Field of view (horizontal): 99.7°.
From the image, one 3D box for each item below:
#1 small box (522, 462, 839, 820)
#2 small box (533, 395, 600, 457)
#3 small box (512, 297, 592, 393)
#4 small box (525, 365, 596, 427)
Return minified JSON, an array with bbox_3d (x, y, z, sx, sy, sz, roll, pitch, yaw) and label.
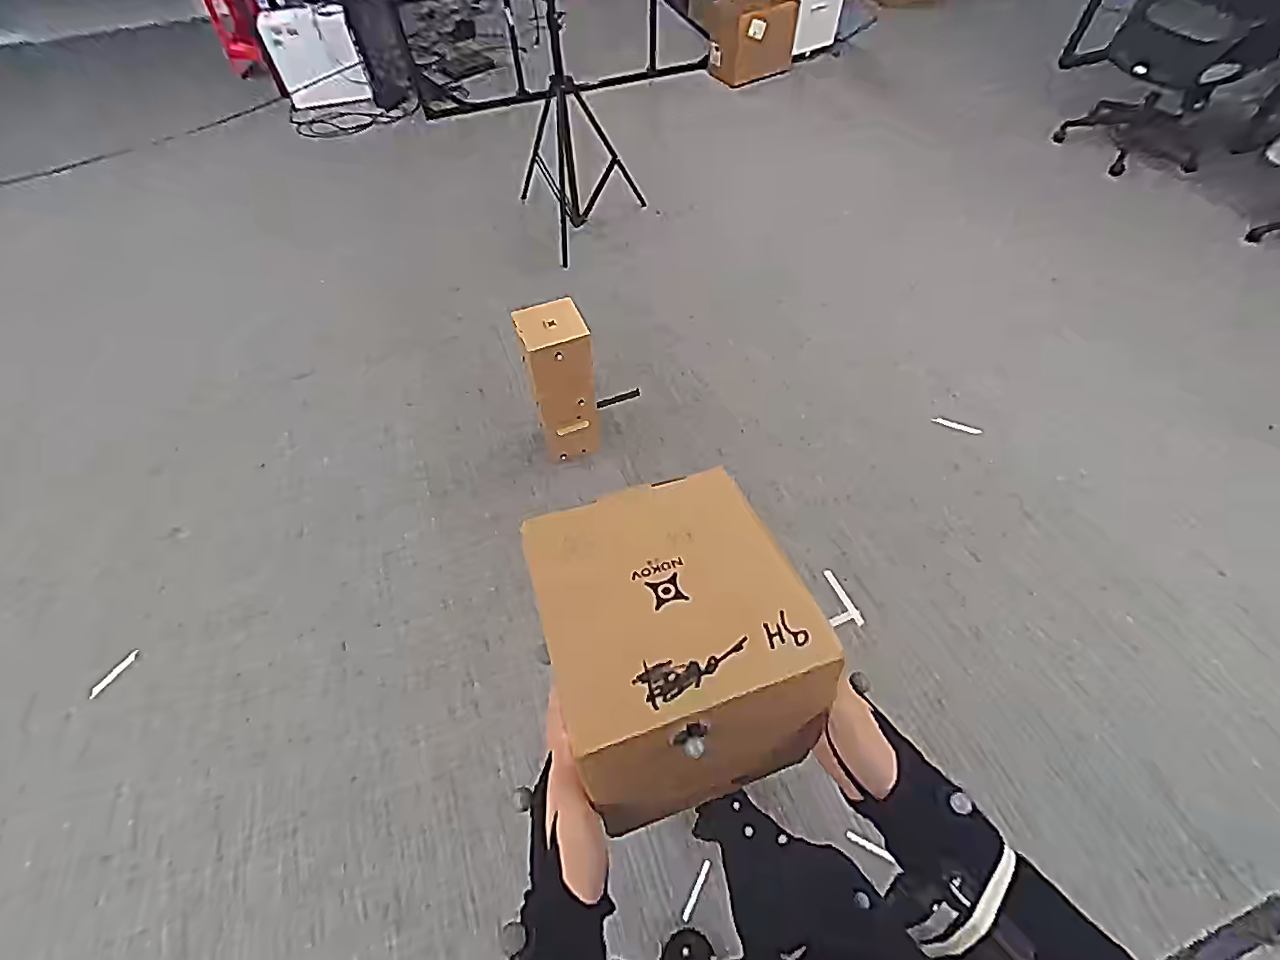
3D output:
[{"bbox_3d":[0.019,0.118,0.413,0.168,0.176,0.179,-16,45,-10],"label":"small box"},{"bbox_3d":[-0.238,-0.195,1.783,0.168,0.176,0.179,-20,58,-11],"label":"small box"},{"bbox_3d":[-0.239,-0.374,1.513,0.179,0.176,0.168,-20,60,-12],"label":"small box"},{"bbox_3d":[-0.239,-0.284,1.647,0.168,0.176,0.179,-20,58,-12],"label":"small box"}]
